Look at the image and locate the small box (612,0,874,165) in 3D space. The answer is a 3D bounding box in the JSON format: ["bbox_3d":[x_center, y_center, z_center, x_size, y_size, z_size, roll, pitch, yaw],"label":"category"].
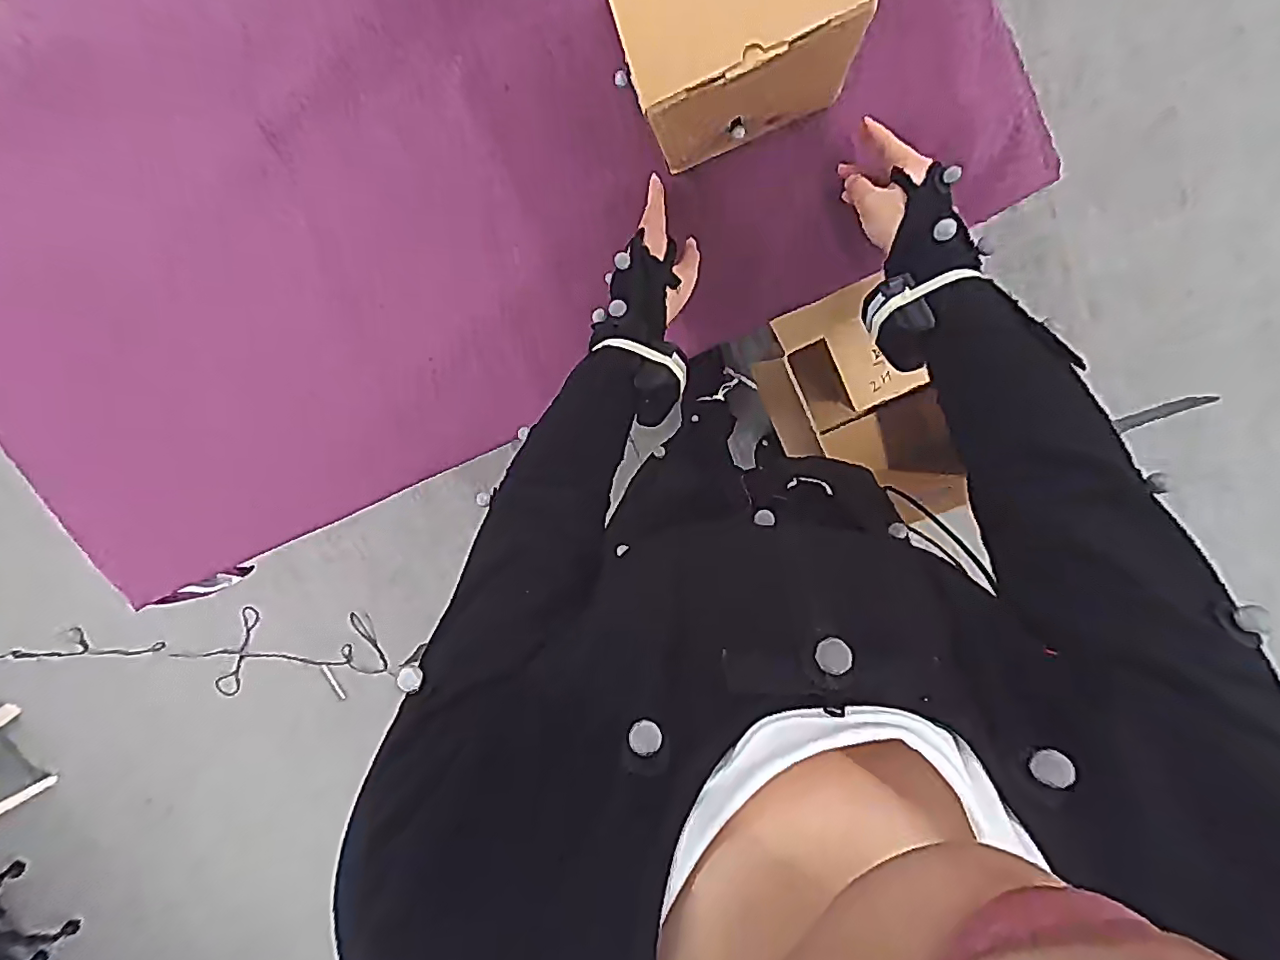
[{"bbox_3d":[0.063,-0.391,0.428,0.168,0.176,0.179,-17,102,15],"label":"small box"}]
